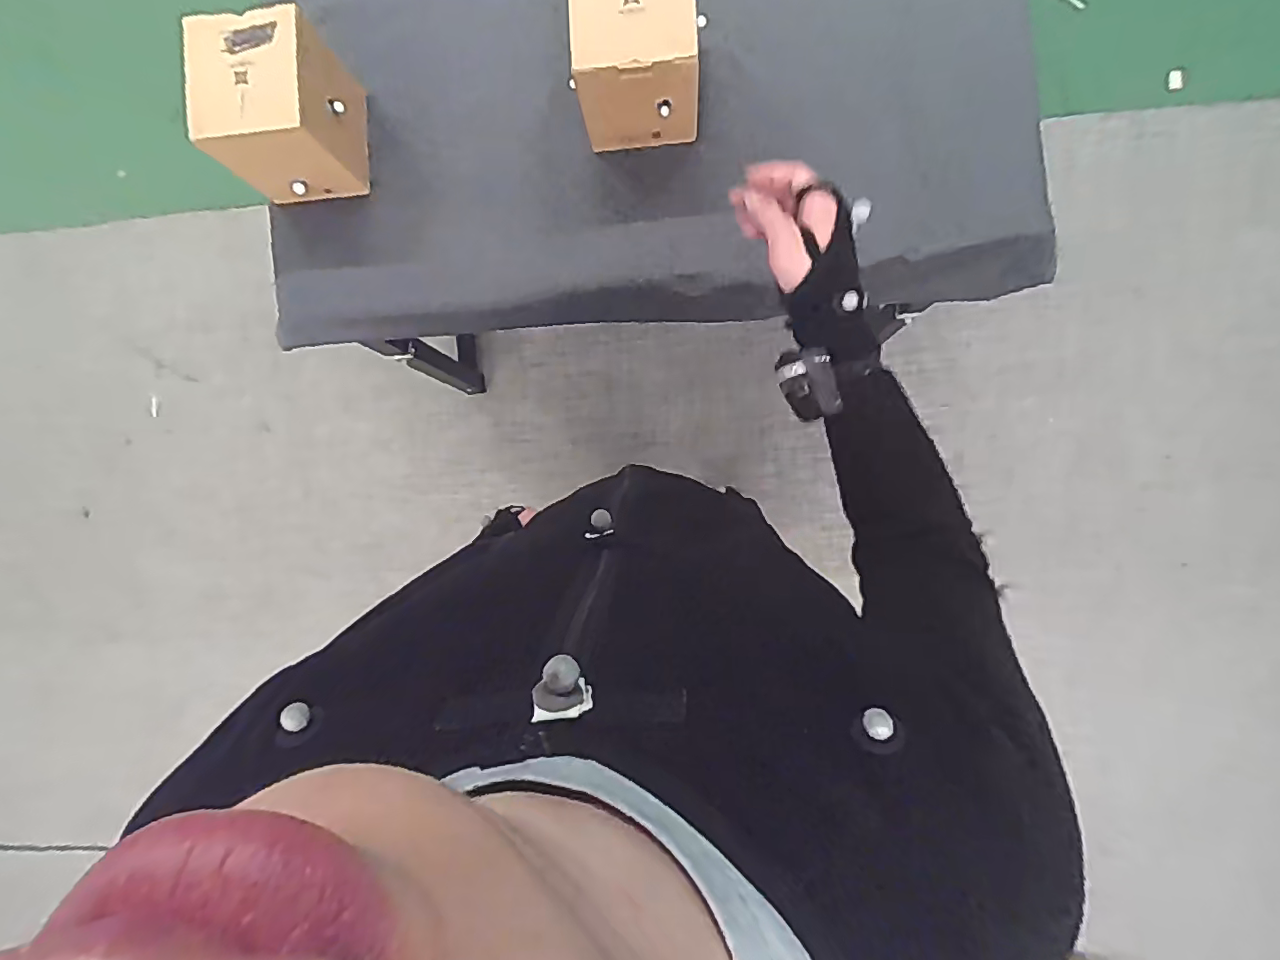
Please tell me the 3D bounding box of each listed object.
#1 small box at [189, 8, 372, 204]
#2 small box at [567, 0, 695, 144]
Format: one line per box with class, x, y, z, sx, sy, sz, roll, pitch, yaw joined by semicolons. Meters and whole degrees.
small box;-0.533;-0.554;0.822;0.168;0.176;0.179;-4;89;4
small box;-0.007;-0.618;0.783;0.168;0.176;0.179;-4;88;3
